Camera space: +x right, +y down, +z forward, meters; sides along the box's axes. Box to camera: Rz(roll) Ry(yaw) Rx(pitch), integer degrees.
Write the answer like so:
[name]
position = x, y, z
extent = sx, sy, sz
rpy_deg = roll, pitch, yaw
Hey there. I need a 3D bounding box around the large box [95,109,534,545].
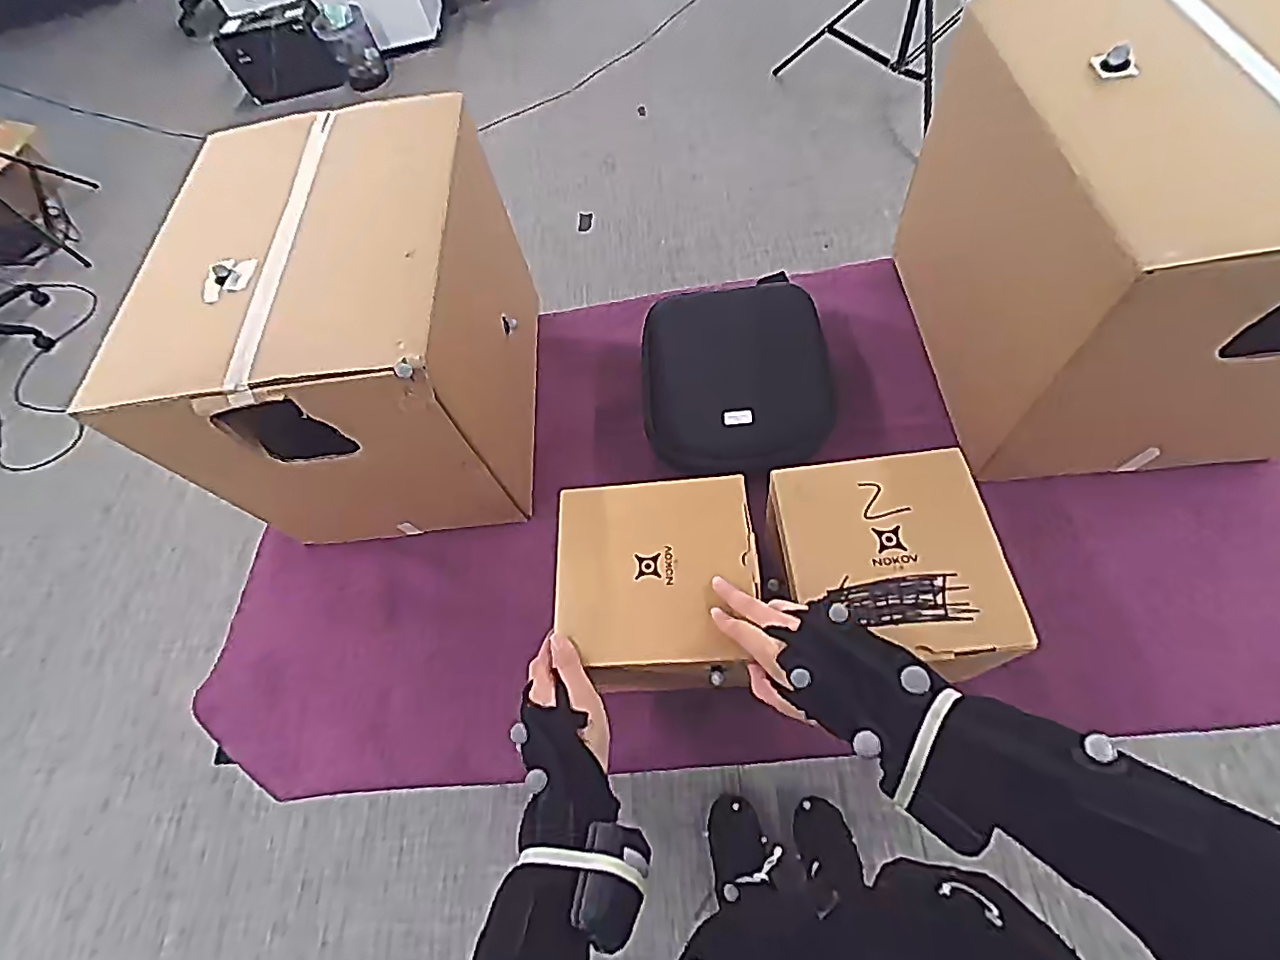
[large box]
position = -0.321, -0.170, 0.675
extent = 0.320, 0.320, 0.408
rpy_deg = -8, 63, 4
